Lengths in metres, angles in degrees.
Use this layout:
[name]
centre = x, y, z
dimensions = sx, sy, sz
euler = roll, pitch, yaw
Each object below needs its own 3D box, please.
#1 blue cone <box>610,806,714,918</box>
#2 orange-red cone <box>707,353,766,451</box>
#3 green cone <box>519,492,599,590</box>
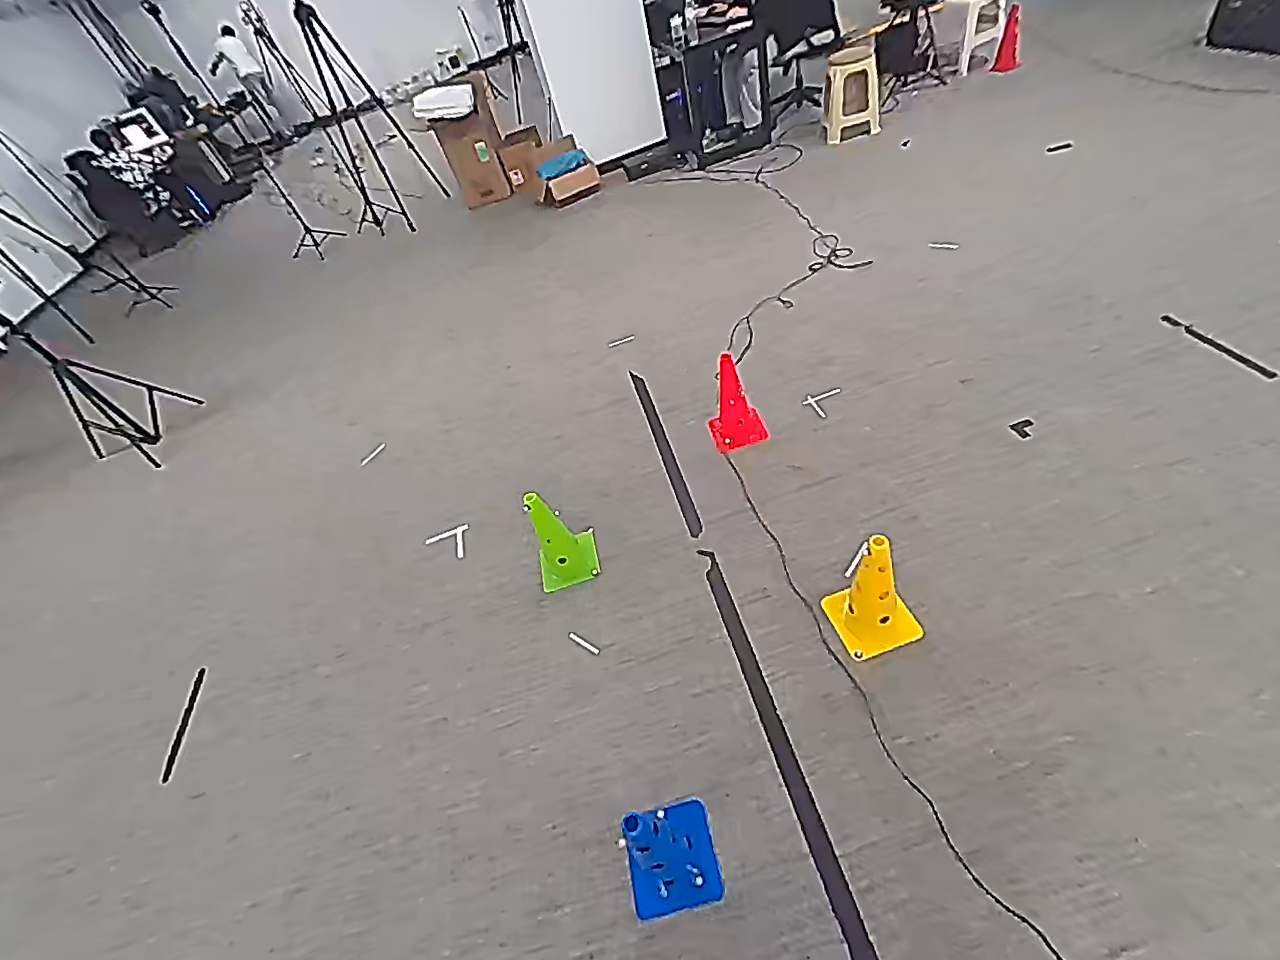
[blue cone]
centre = 0.020, 0.750, 1.110
dimensions = 0.192, 0.380, 0.193
euler = -17, 45, 4
[orange-red cone]
centre = 0.332, -0.310, 1.969
dimensions = 0.199, 0.360, 0.198
euler = -15, 47, 4
[green cone]
centre = -0.292, 0.162, 1.743
dimensions = 0.202, 0.368, 0.200
euler = -20, 45, 2
